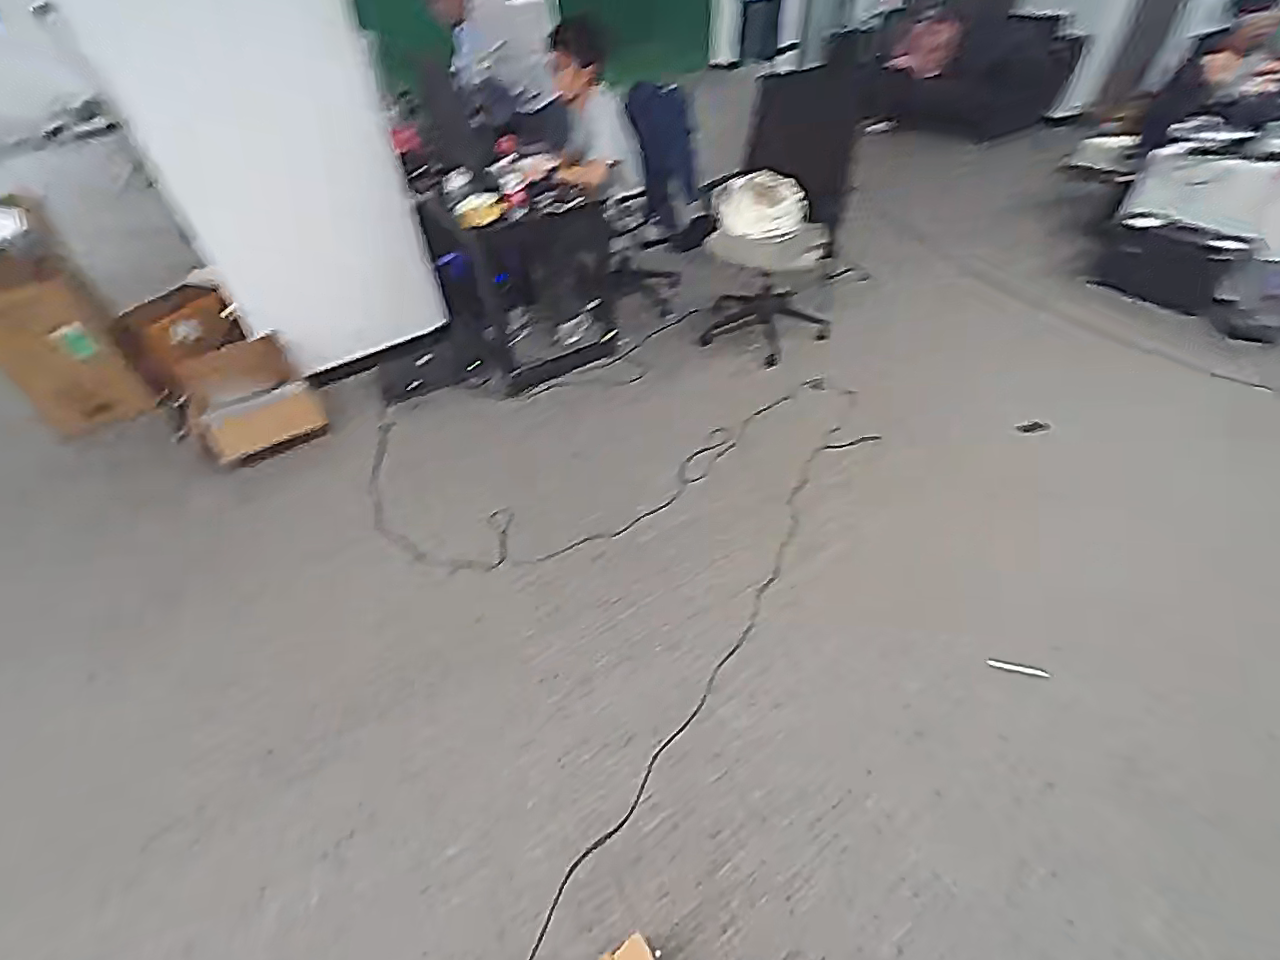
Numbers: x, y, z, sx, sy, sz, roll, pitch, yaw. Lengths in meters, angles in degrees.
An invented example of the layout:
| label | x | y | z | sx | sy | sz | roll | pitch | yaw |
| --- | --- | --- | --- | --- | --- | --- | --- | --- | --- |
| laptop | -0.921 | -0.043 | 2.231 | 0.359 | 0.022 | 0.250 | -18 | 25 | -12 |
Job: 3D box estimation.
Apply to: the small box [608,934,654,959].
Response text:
| label | x | y | z | sx | sy | sz | roll | pitch | yaw |
| --- | --- | --- | --- | --- | --- | --- | --- | --- | --- |
| small box | -0.016 | 0.976 | 0.974 | 0.168 | 0.176 | 0.179 | -28 | 50 | -21 |
